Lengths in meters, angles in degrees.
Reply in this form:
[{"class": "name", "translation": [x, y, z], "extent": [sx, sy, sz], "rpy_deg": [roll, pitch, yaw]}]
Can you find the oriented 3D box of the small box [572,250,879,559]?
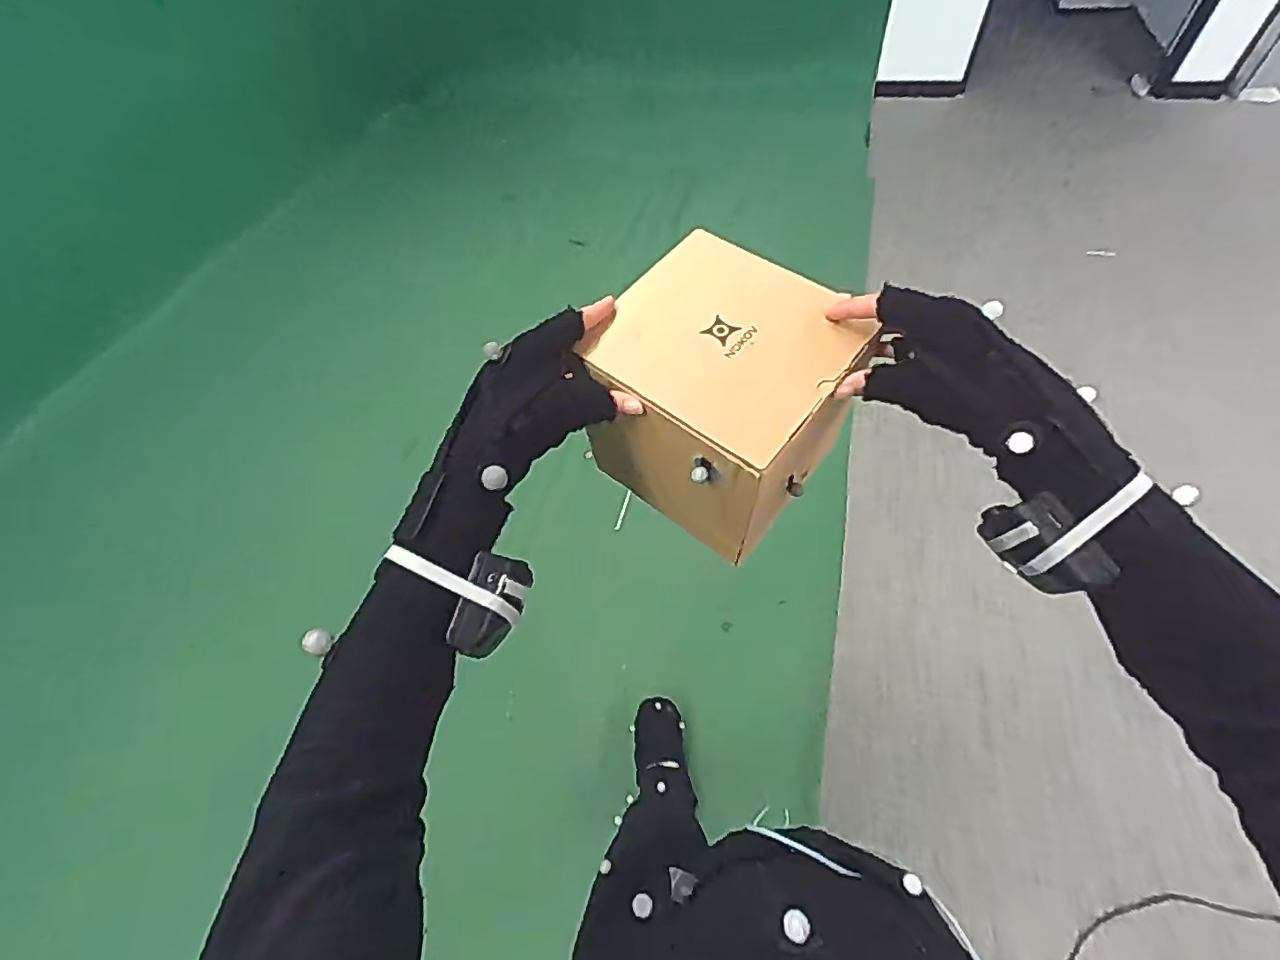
[{"class": "small box", "translation": [0.067, -0.059, 0.476], "extent": [0.179, 0.176, 0.168], "rpy_deg": [36, 68, 20]}]
